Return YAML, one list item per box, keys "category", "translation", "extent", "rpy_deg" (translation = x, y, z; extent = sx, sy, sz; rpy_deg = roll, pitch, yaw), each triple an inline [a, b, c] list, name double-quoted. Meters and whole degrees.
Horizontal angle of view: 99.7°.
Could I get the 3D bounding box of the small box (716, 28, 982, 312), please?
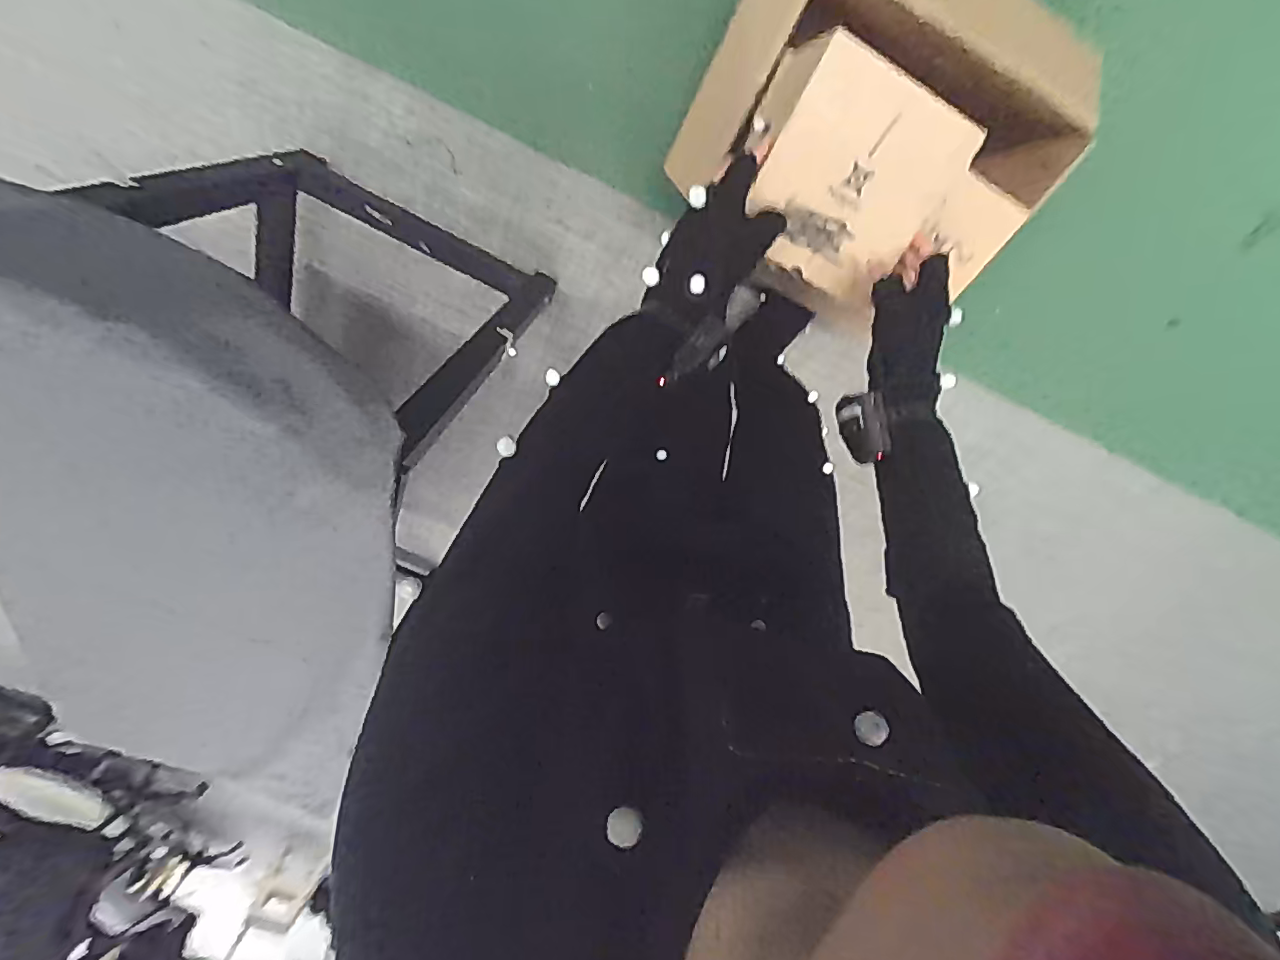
- category: "small box"
  translation: [0.190, -0.308, 0.558]
  extent: [0.168, 0.176, 0.179]
  rpy_deg: [23, 120, -13]
